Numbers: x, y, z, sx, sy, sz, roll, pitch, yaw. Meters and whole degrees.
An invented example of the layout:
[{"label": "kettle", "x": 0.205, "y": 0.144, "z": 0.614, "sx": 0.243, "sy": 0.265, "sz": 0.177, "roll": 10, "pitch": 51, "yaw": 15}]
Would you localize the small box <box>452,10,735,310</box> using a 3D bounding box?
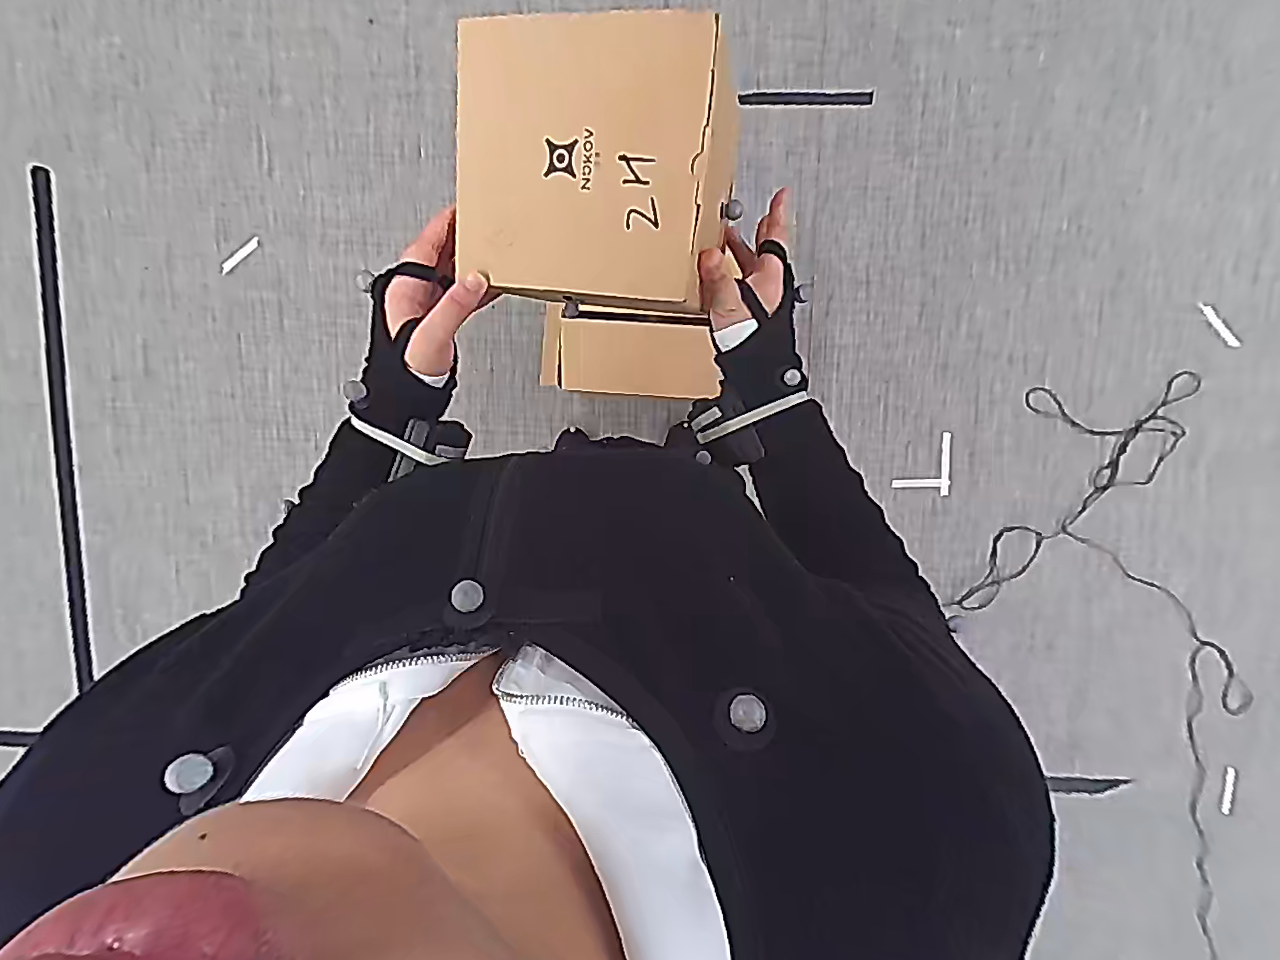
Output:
[{"label": "small box", "x": -0.027, "y": -0.231, "z": 0.434, "sx": 0.179, "sy": 0.176, "sz": 0.168, "roll": 9, "pitch": 106, "yaw": 12}]
